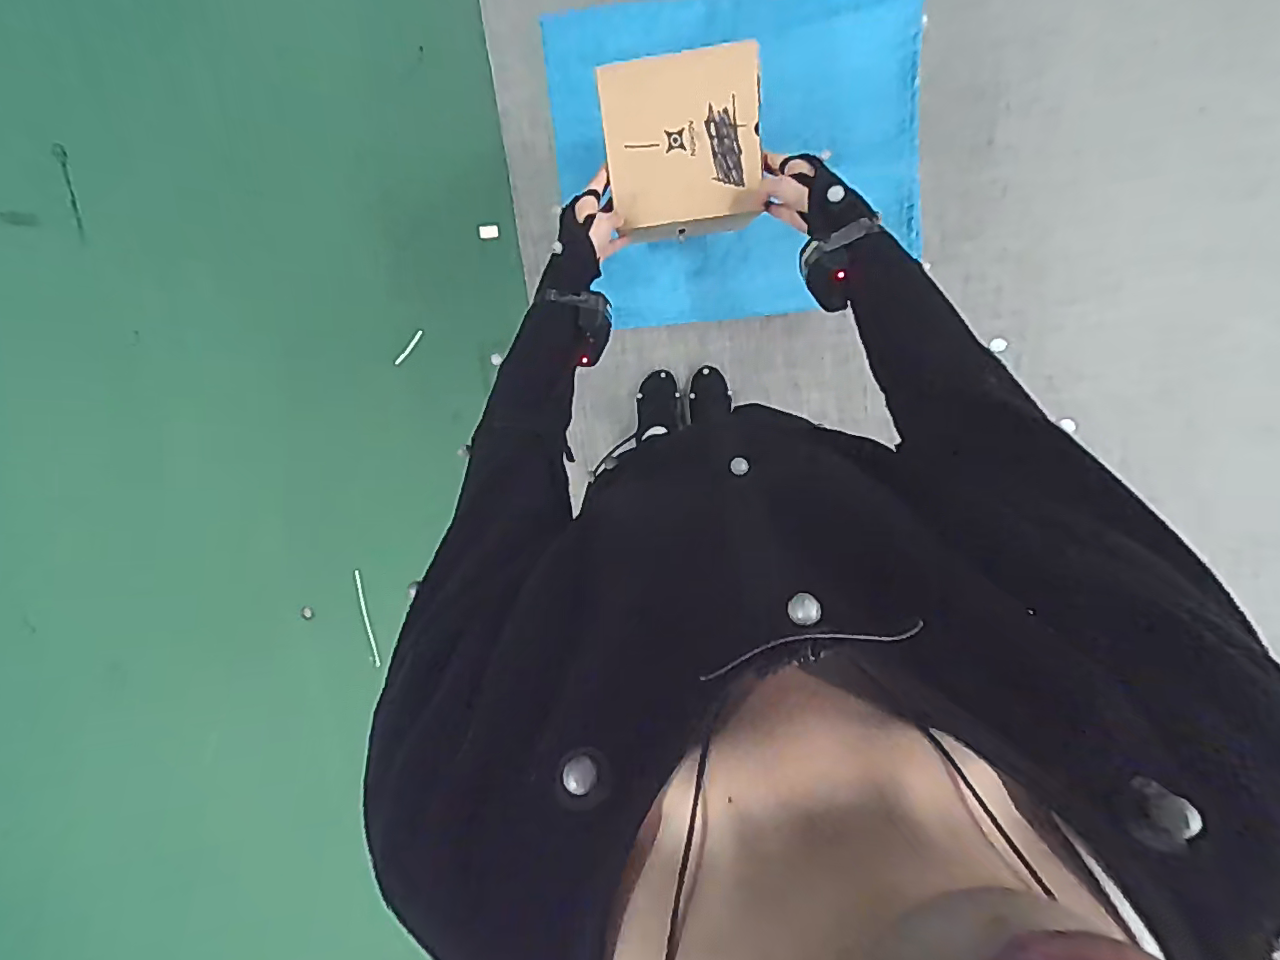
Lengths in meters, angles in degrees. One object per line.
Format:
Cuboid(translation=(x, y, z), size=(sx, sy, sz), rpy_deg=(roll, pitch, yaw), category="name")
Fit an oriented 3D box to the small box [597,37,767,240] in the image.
Cuboid(translation=(0.051, -0.401, 0.666), size=(0.179, 0.176, 0.168), rpy_deg=(-6, 108, 5), category="small box")
